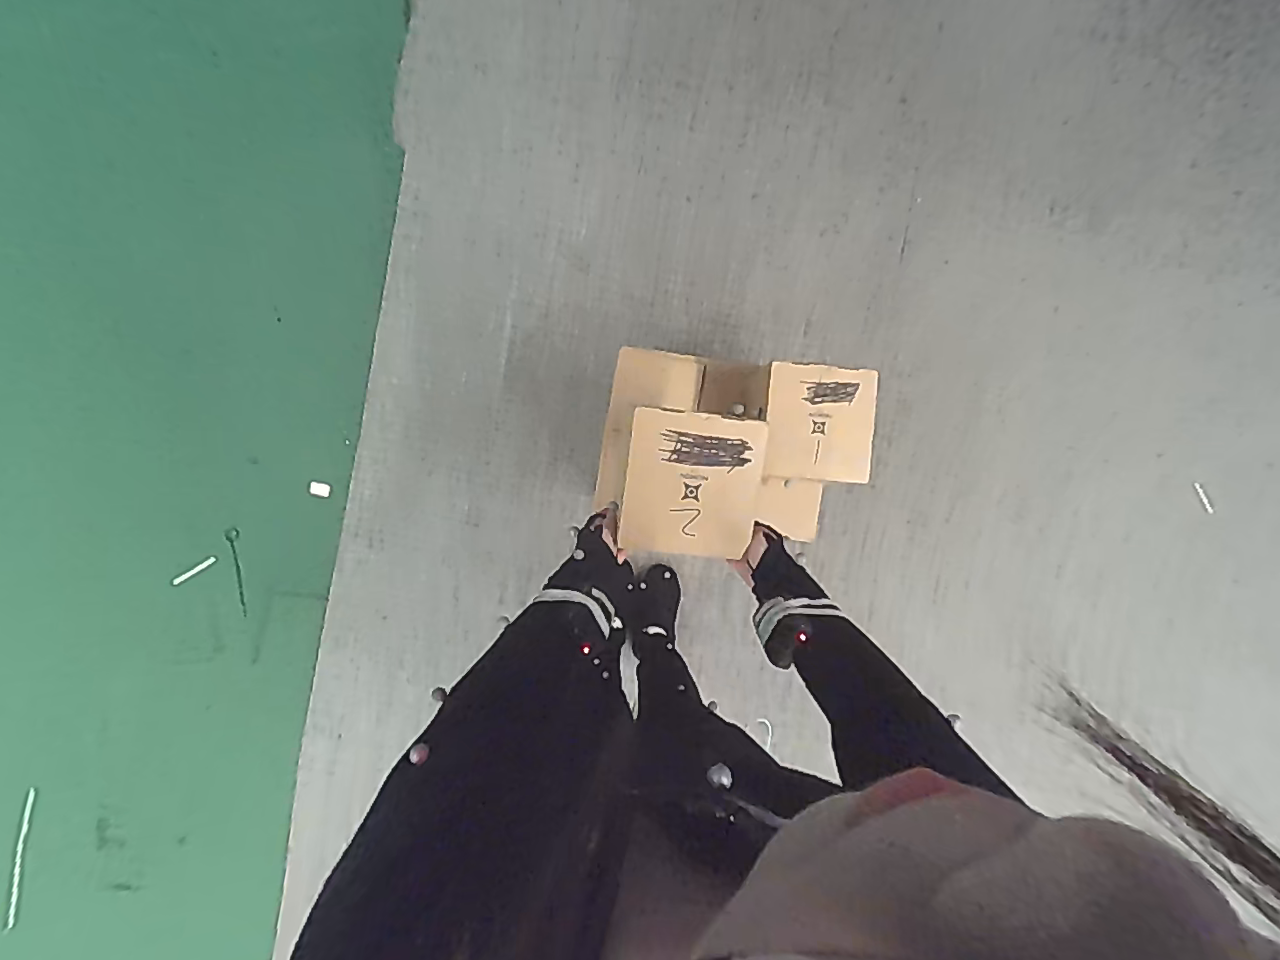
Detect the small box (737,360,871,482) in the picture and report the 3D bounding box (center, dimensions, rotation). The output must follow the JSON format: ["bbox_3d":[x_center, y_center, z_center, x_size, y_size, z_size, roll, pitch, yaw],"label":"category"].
[{"bbox_3d":[0.265,-0.091,0.907,0.168,0.176,0.179,5,91,-1],"label":"small box"}]
